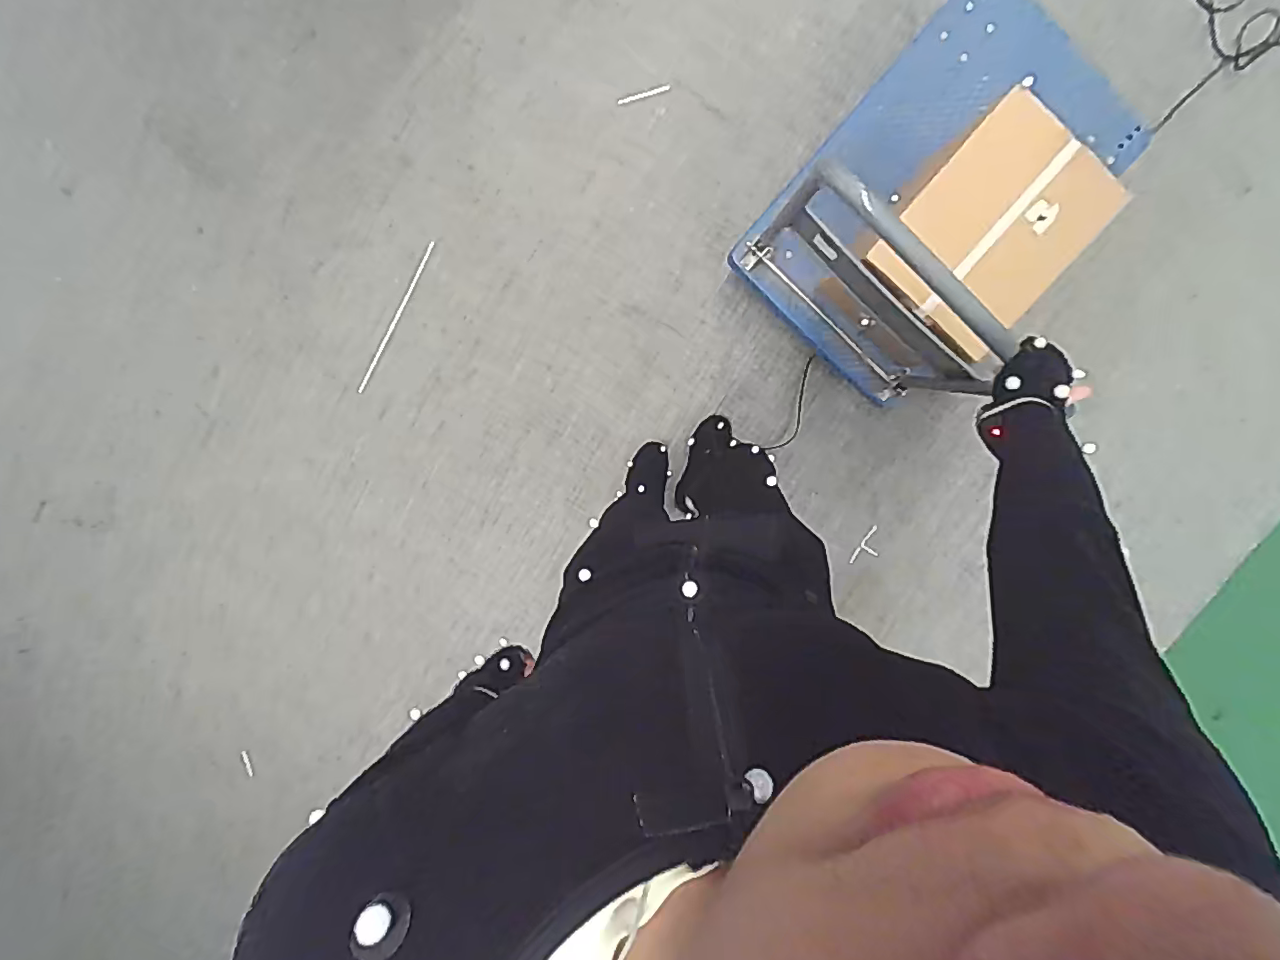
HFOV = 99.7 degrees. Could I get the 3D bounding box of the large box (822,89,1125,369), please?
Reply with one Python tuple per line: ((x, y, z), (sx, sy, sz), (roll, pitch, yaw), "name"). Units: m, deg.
((0.684, -0.500, 1.182), (0.320, 0.320, 0.408), (40, 96, -6), "large box")
